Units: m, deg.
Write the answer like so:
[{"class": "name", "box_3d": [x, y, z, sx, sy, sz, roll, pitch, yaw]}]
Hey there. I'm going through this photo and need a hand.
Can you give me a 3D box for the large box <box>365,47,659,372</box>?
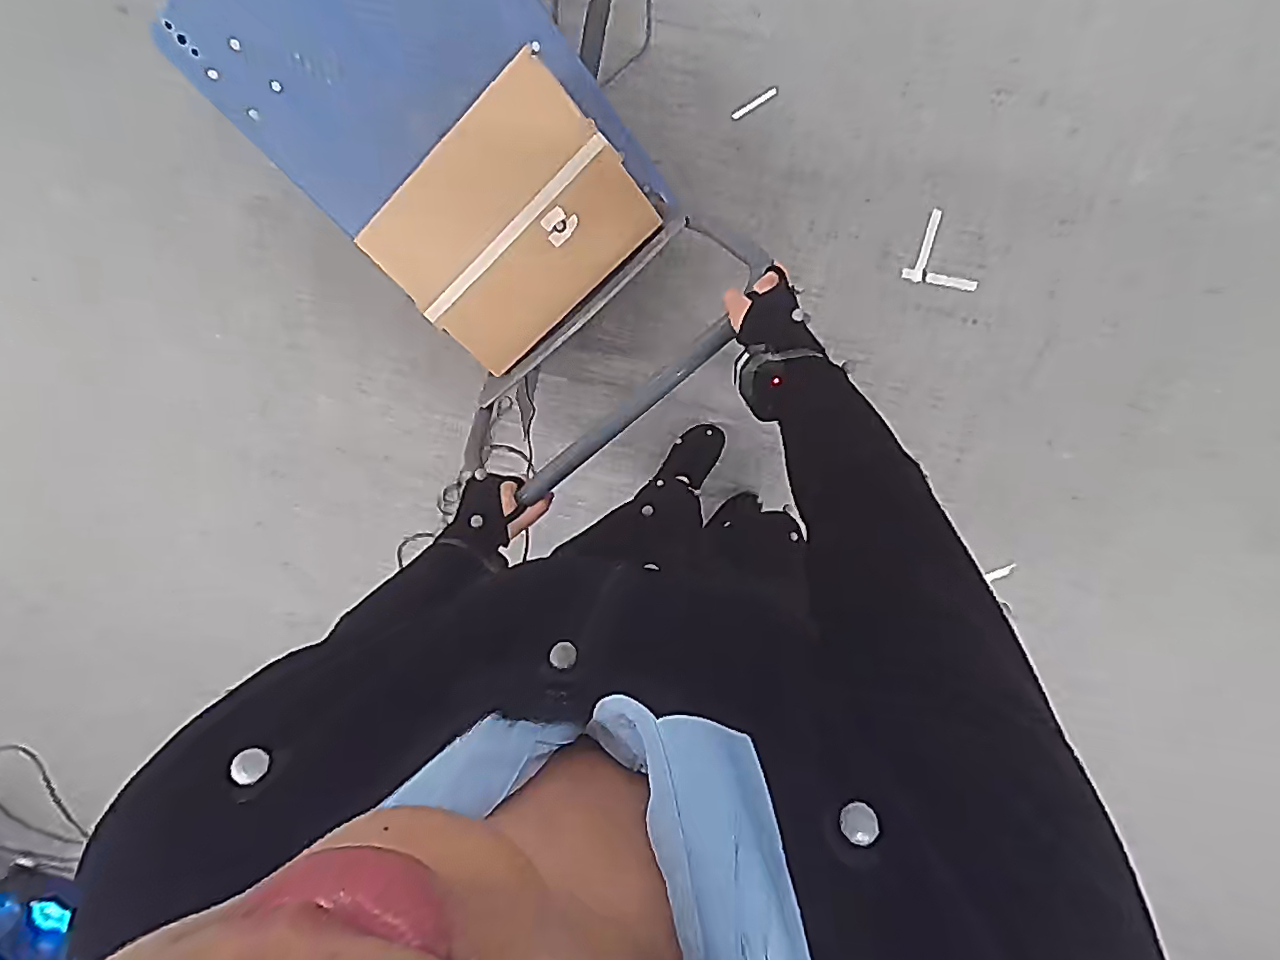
[{"class": "large box", "box_3d": [-0.226, -0.482, 1.030, 0.408, 0.320, 0.320, -40, 115, 13]}]
